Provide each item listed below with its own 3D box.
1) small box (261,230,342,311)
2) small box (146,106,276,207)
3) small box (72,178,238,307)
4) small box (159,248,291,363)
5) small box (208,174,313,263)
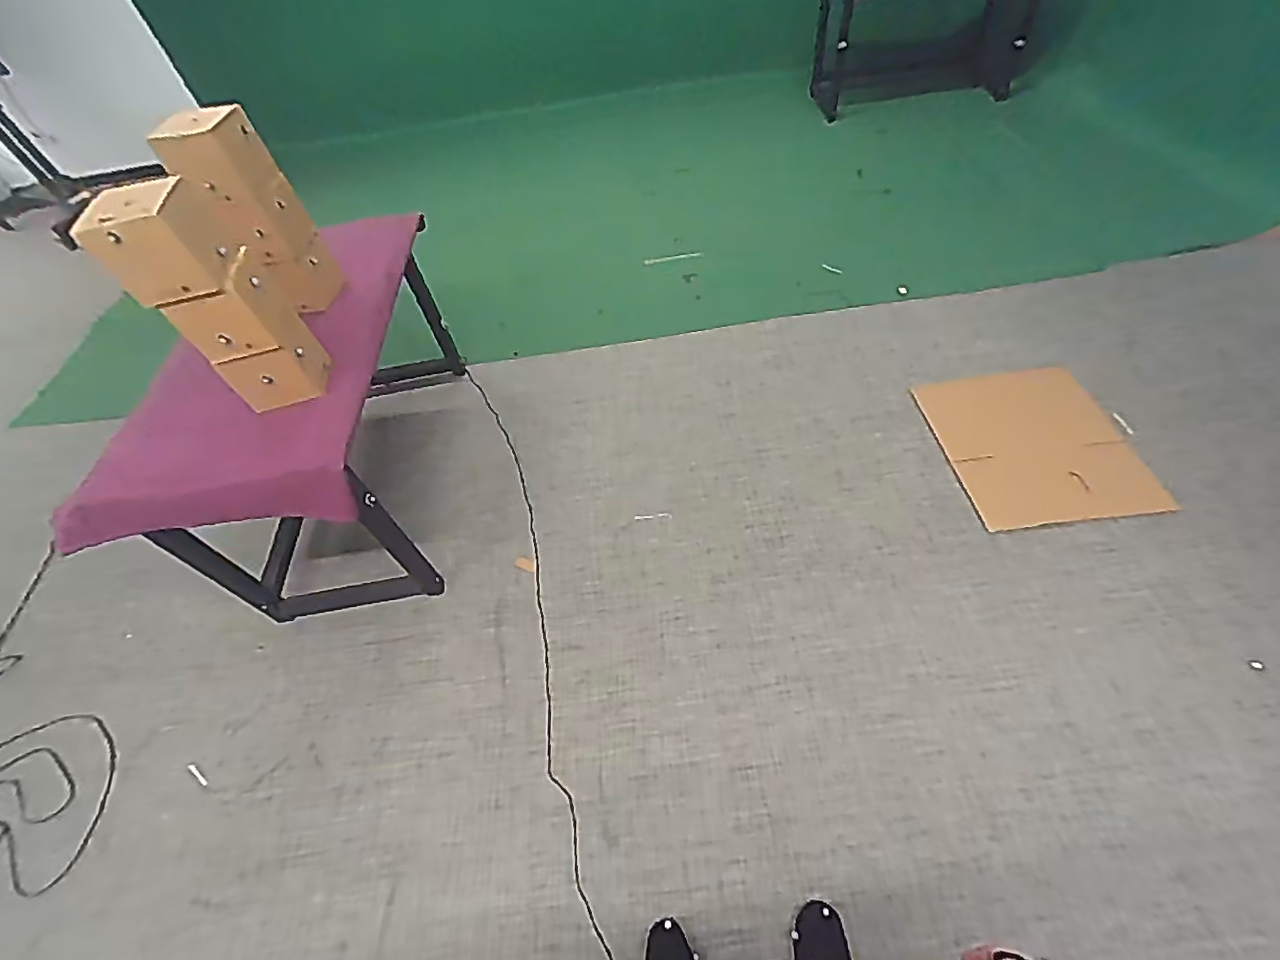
[{"bbox_3d":[-1.047,-0.630,1.645,0.168,0.176,0.179,-3,52,5],"label":"small box"},{"bbox_3d":[-1.081,-0.824,1.384,0.168,0.176,0.179,-4,53,4],"label":"small box"},{"bbox_3d":[-0.981,-0.488,1.117,0.168,0.176,0.179,-14,53,-1],"label":"small box"},{"bbox_3d":[-0.948,-0.401,1.253,0.168,0.176,0.179,-15,53,-3],"label":"small box"},{"bbox_3d":[-1.060,-0.726,1.516,0.168,0.176,0.179,-3,53,4],"label":"small box"}]
